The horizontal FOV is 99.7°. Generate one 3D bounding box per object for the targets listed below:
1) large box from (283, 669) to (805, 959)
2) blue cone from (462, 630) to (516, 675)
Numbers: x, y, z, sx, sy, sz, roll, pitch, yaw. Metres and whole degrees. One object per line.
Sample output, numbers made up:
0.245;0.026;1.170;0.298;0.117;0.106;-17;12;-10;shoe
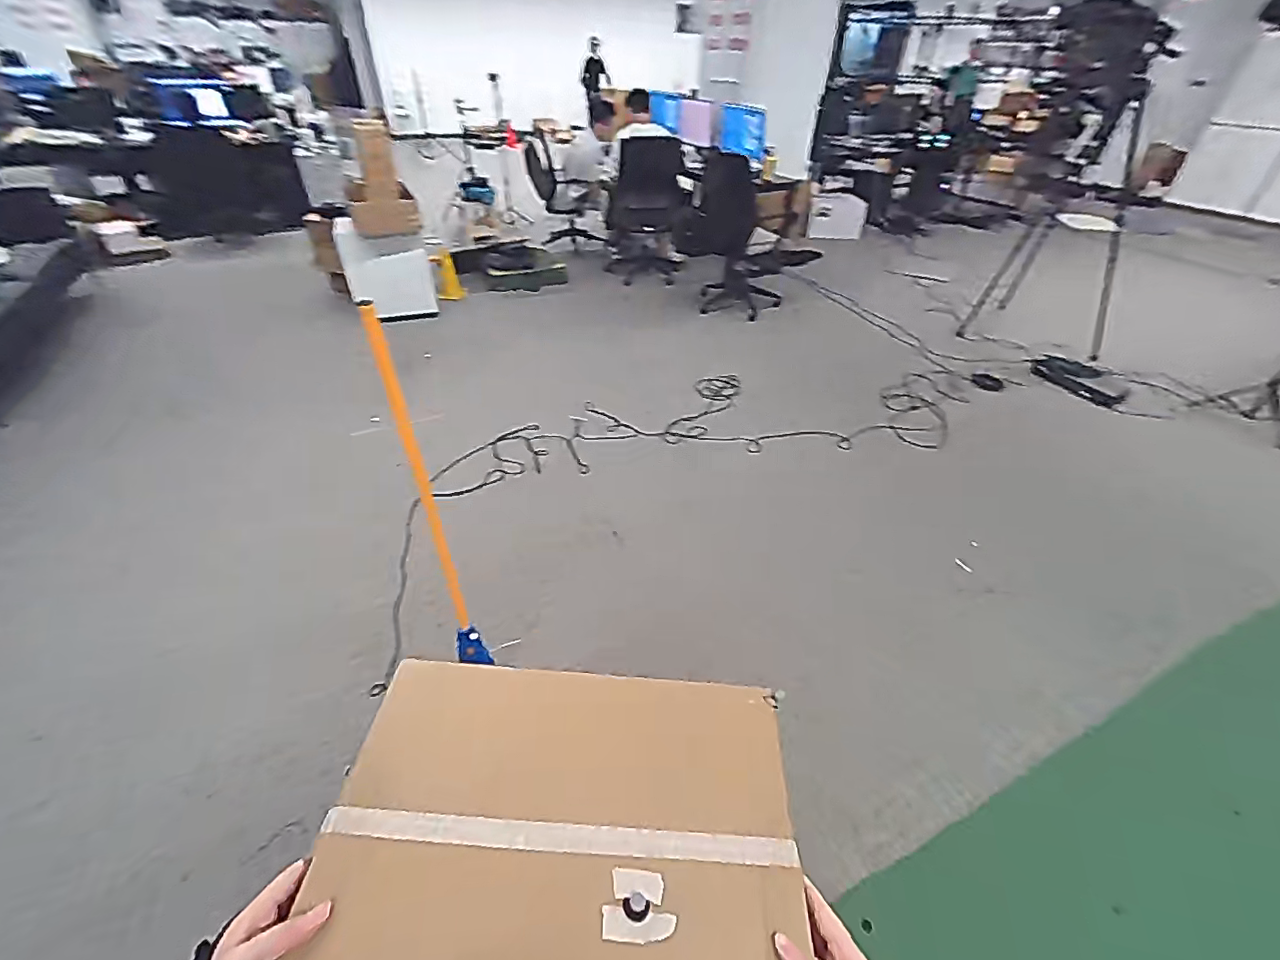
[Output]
-0.079;0.430;0.567;0.408;0.320;0.320;5;40;-1;large box
-0.449;0.538;1.511;0.193;0.380;0.192;-10;40;-14;blue cone
